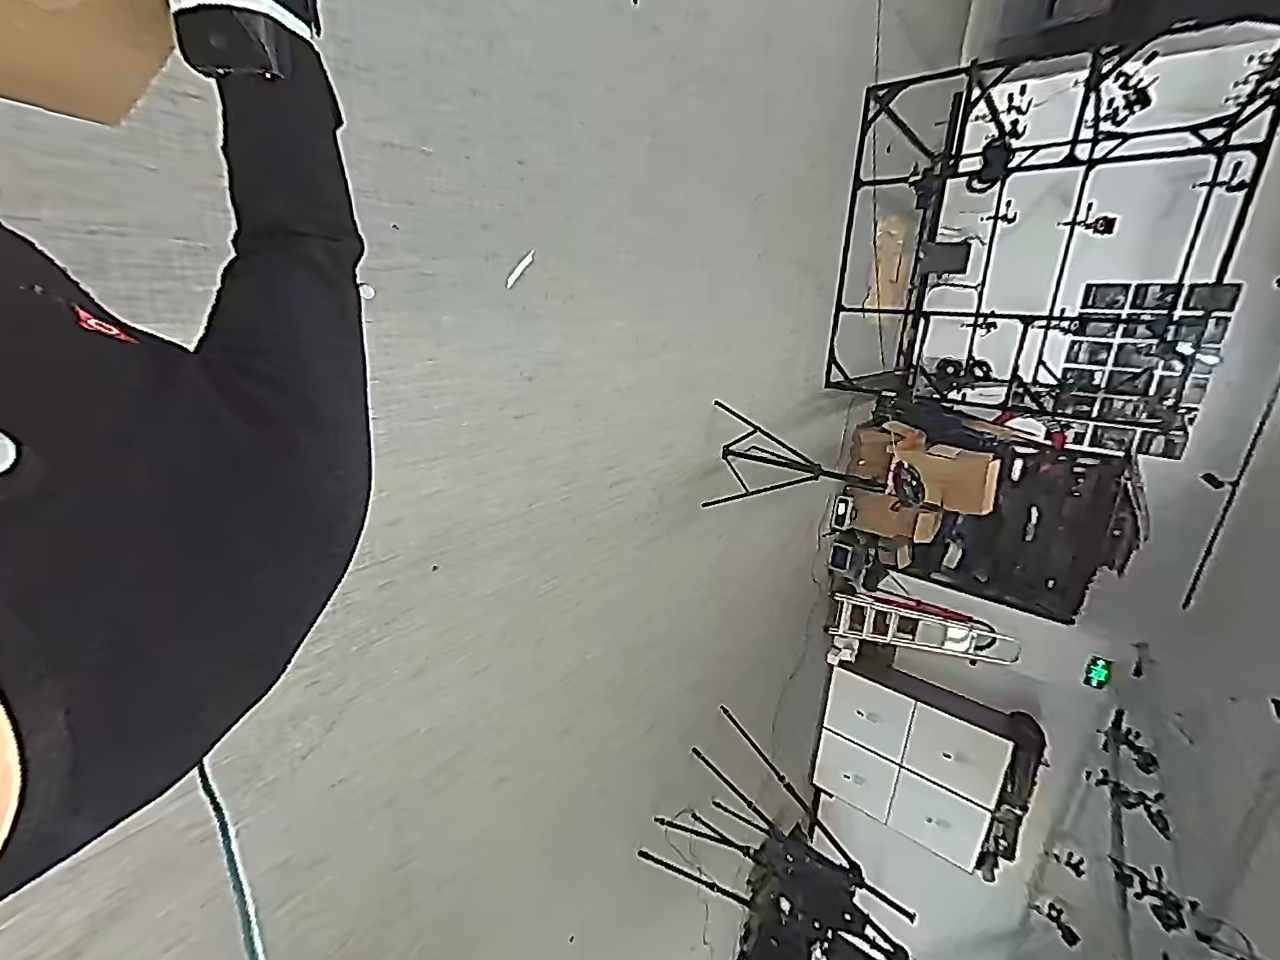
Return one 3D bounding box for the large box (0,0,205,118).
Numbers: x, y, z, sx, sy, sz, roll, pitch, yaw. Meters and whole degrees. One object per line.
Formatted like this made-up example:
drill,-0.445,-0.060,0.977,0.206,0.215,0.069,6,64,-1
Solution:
large box,-0.533,-0.461,0.278,0.408,0.320,0.320,-13,109,-51
